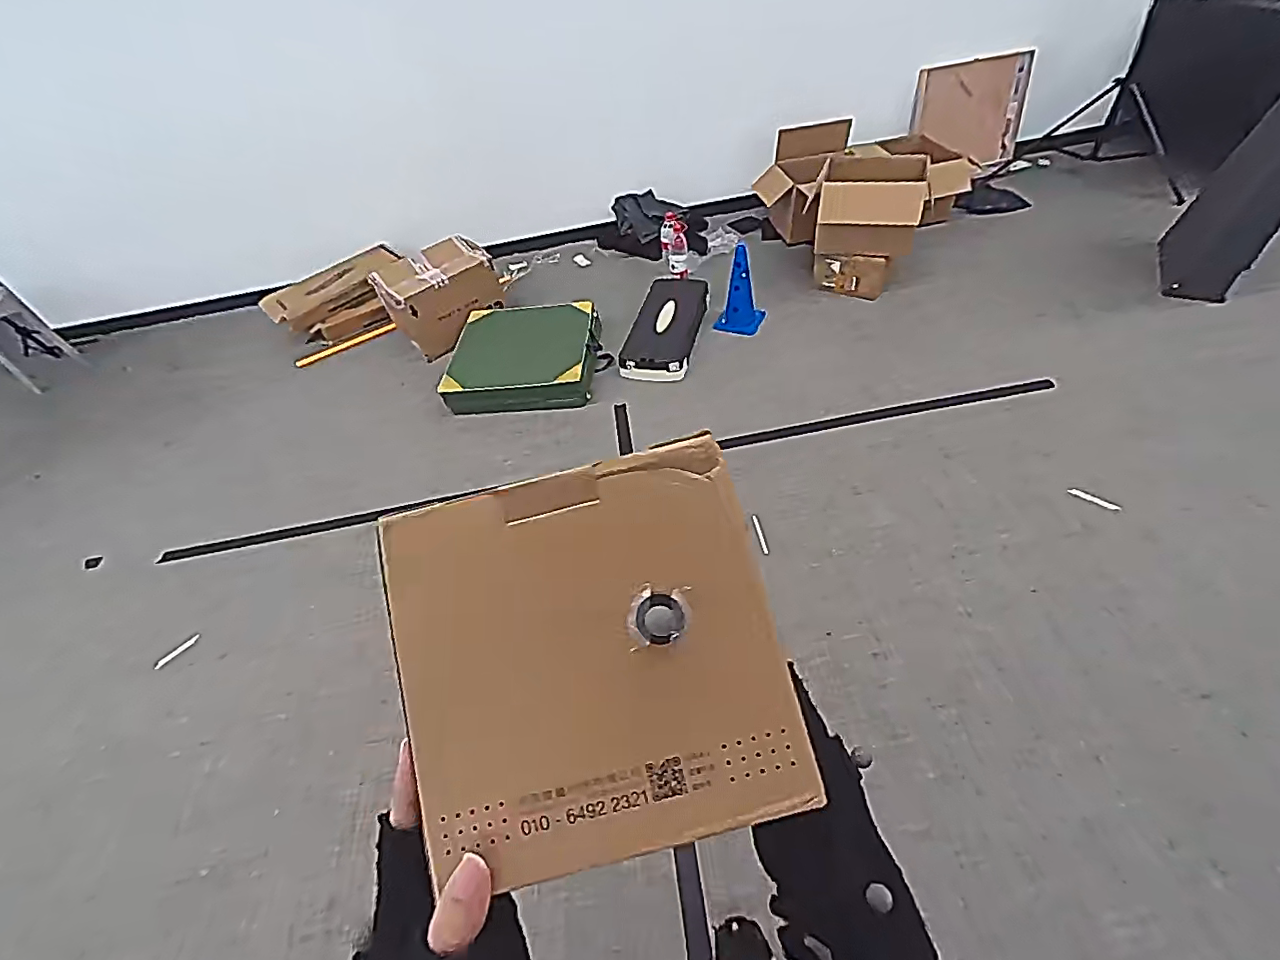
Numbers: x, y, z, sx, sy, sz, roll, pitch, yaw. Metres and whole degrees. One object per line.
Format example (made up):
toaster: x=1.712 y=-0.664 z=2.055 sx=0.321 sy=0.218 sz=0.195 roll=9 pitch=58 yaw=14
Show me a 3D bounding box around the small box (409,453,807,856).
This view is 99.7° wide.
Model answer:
small box: x=-0.014 y=0.100 z=0.336 sx=0.168 sy=0.179 sz=0.176 roll=-14 pitch=78 yaw=0
